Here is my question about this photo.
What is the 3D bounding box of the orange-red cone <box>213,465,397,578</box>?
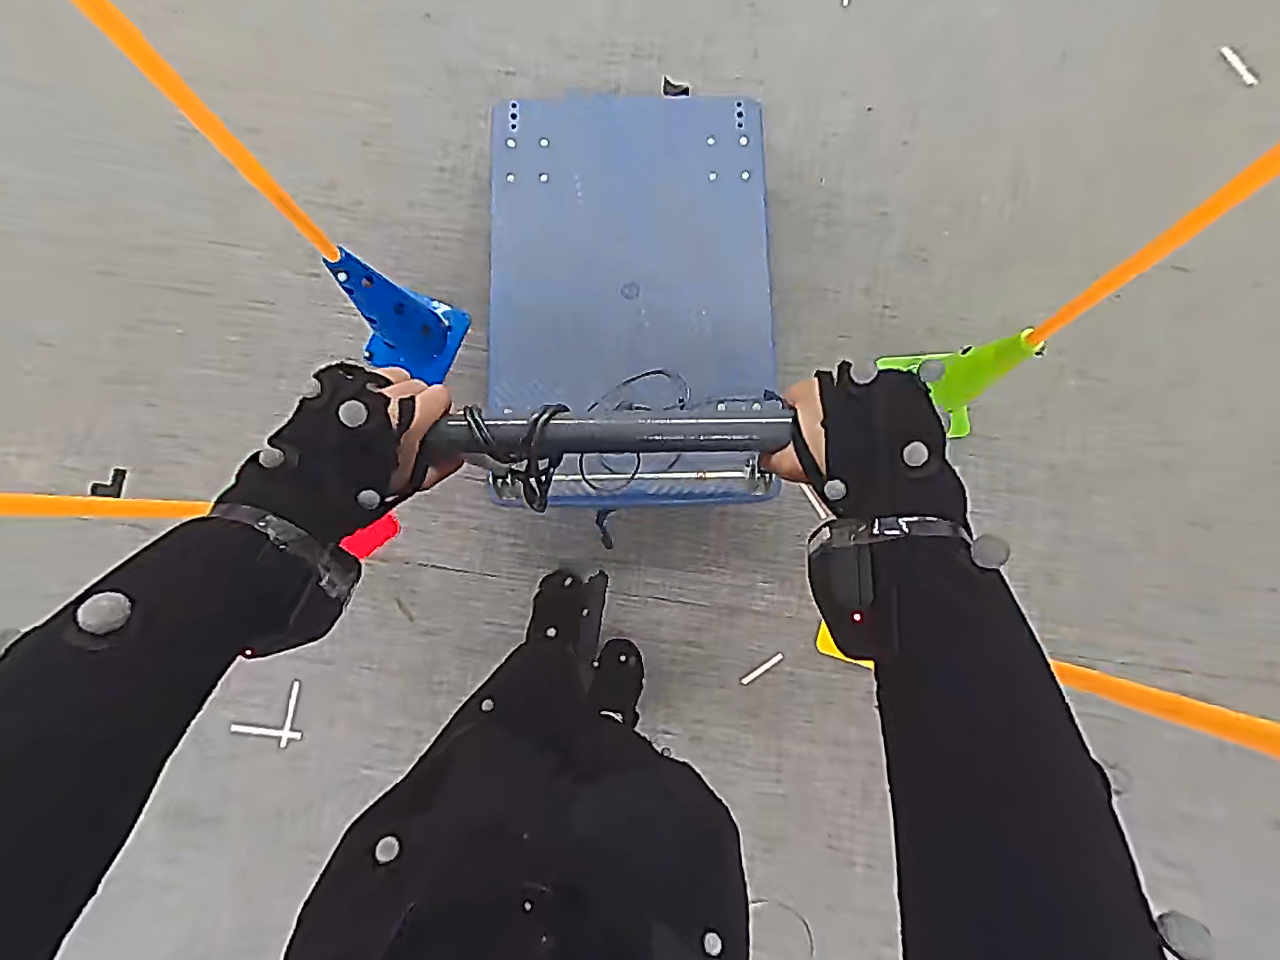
[{"bbox_3d":[-0.660,0.066,1.027,0.199,0.360,0.198,-36,84,-6],"label":"orange-red cone"}]

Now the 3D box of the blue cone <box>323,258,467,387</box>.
[{"bbox_3d":[-0.516,-0.347,1.099,0.193,0.380,0.192,24,83,3],"label":"blue cone"}]

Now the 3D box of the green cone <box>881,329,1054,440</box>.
[{"bbox_3d":[0.658,-0.215,1.068,0.200,0.368,0.202,-5,83,-1],"label":"green cone"}]
